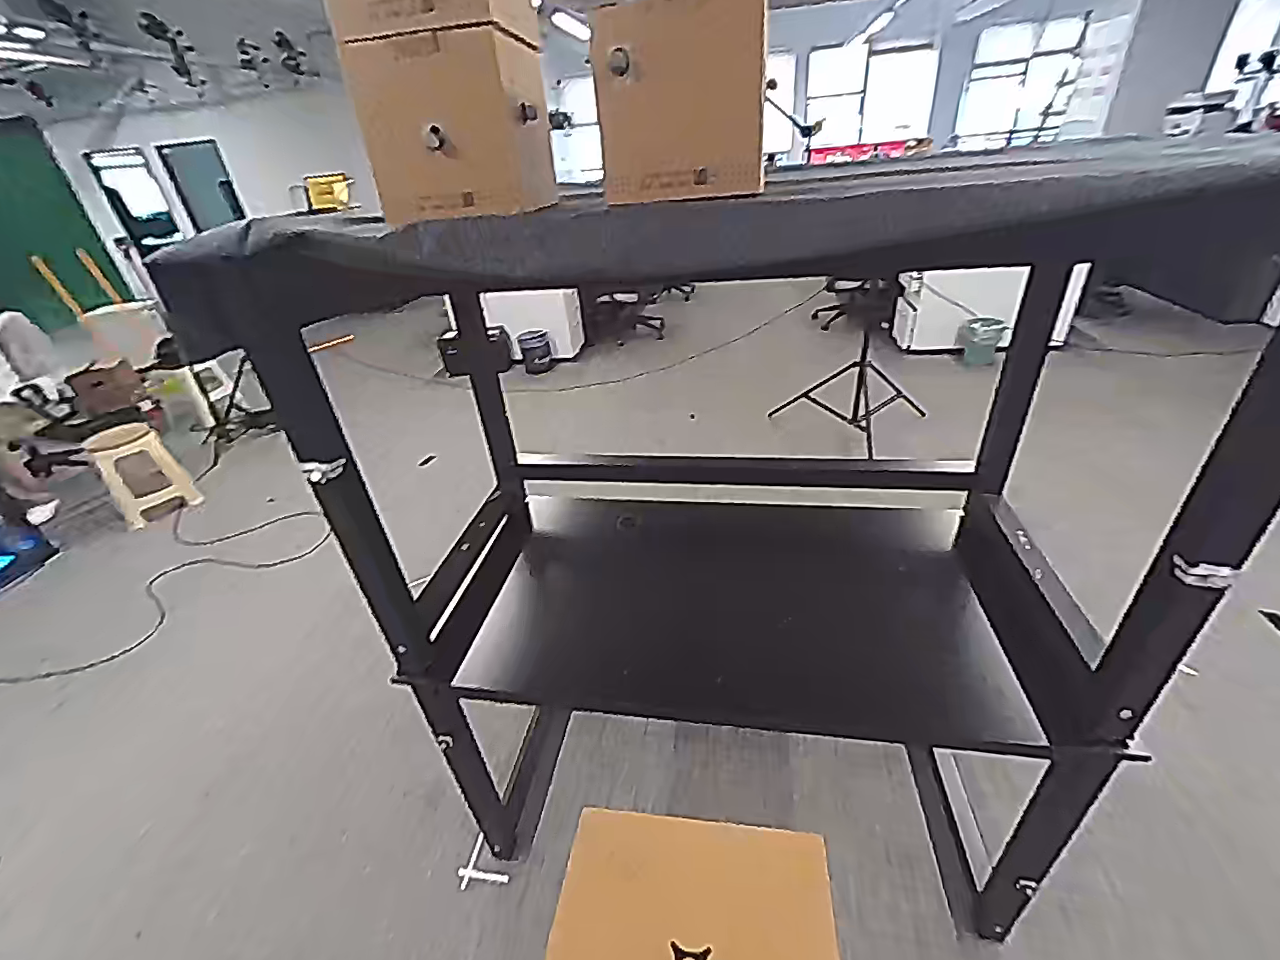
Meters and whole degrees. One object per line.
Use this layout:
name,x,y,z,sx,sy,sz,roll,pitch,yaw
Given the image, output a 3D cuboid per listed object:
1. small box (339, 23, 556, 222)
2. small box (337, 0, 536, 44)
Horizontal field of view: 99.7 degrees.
small box,-0.203,-0.403,0.634,0.168,0.176,0.179,-1,31,7
small box,-0.214,-0.547,0.552,0.168,0.176,0.179,-2,31,8
